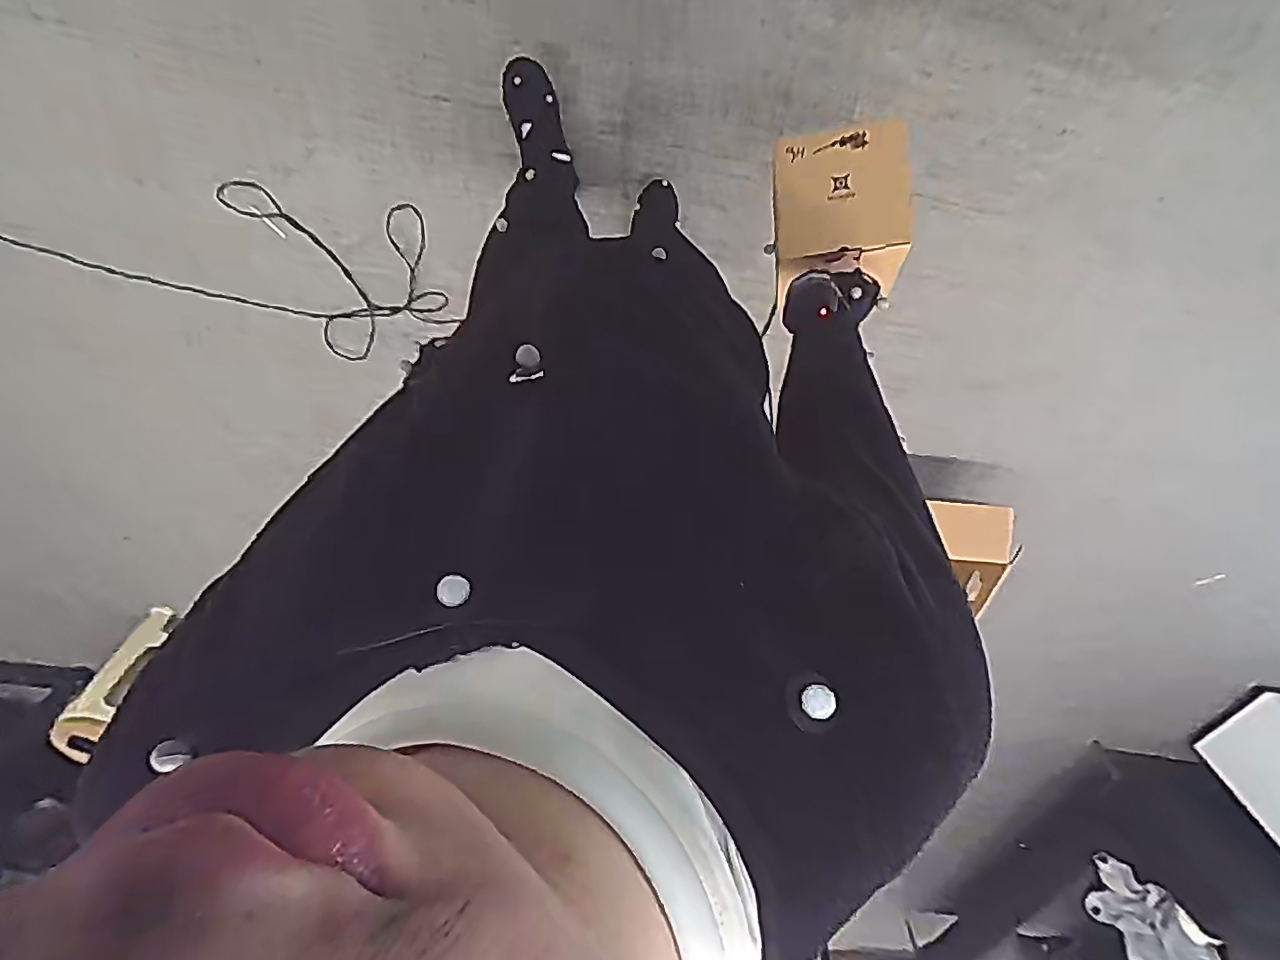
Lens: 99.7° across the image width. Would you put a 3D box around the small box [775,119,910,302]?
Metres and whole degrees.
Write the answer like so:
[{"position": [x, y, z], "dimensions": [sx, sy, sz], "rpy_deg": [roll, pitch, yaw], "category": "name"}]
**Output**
[{"position": [0.283, -0.372, 0.786], "dimensions": [0.168, 0.176, 0.179], "rpy_deg": [-2, 85, 13], "category": "small box"}]
